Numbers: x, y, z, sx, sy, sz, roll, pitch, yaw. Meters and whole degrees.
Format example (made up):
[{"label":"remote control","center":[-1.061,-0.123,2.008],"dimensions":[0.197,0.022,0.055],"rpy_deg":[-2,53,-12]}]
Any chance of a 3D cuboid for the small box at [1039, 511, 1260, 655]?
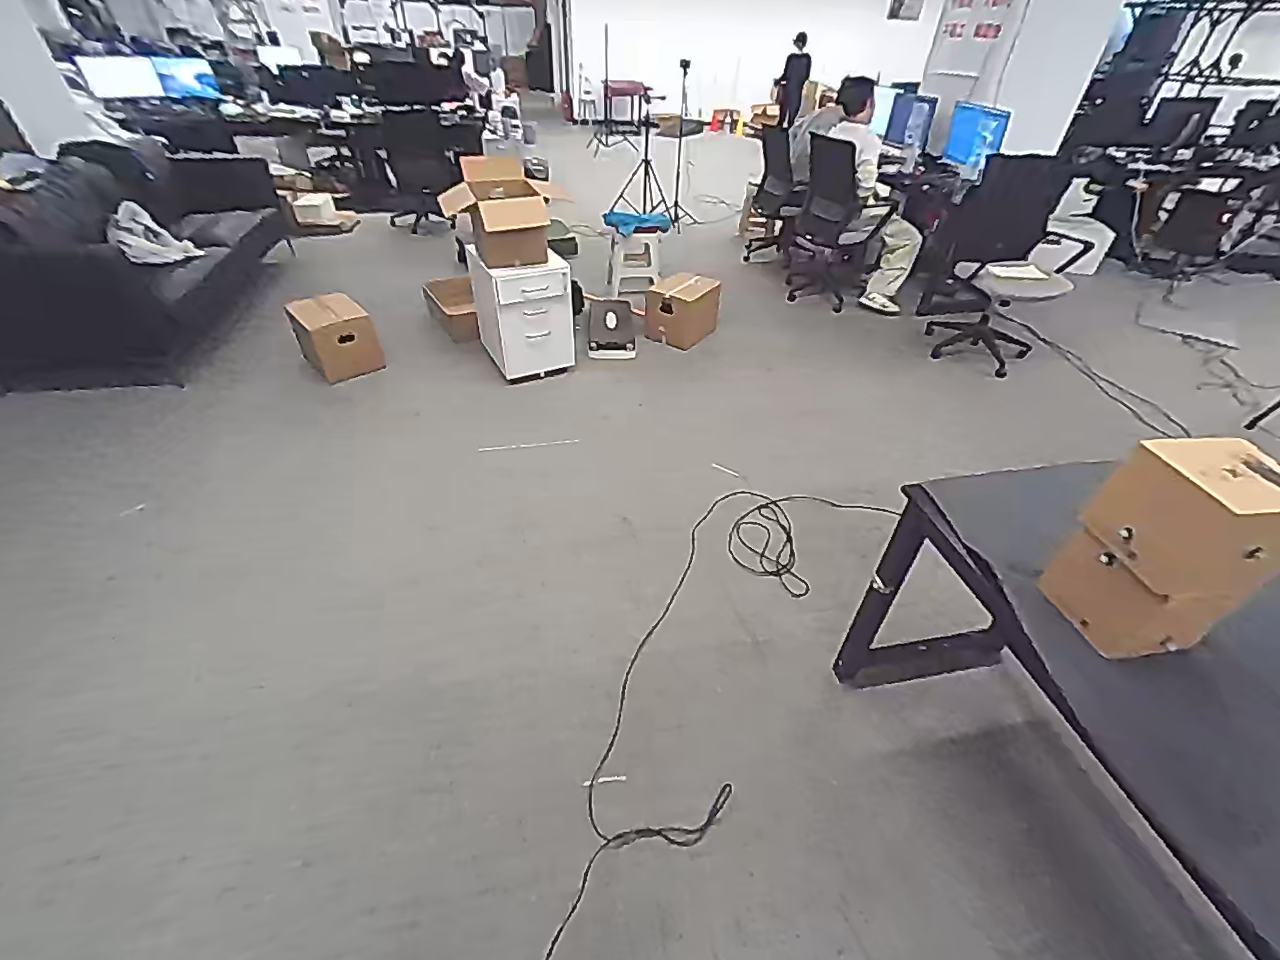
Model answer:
[{"label":"small box","center":[0.840,0.174,0.916],"dimensions":[0.179,0.176,0.168],"rpy_deg":[-5,40,-10]}]
